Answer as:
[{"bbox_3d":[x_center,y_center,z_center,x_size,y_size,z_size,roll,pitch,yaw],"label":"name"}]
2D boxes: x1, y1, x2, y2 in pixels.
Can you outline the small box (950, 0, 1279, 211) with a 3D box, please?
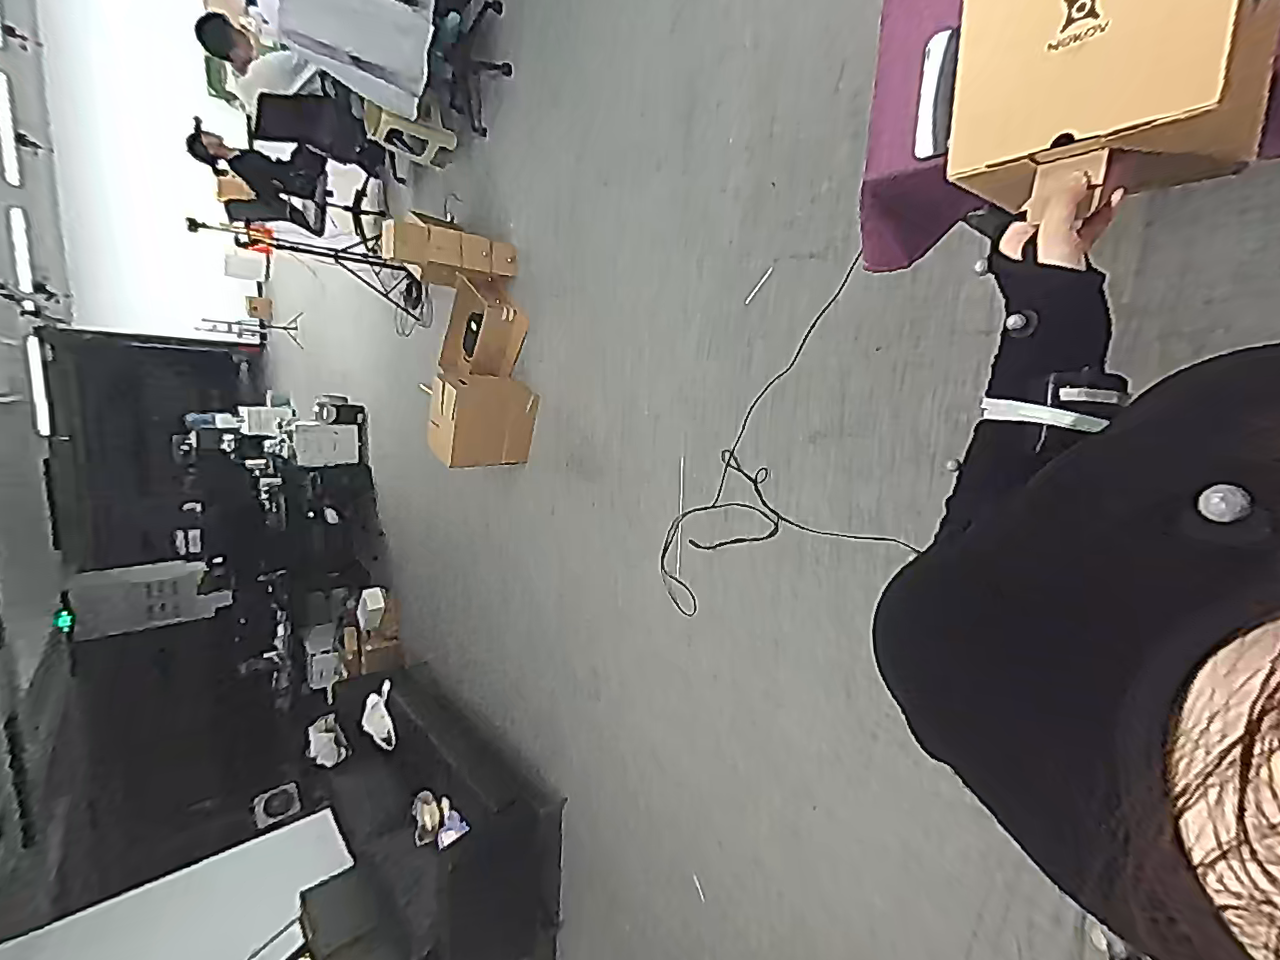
[{"bbox_3d":[0.381,-0.340,0.435,0.168,0.176,0.179,14,108,50],"label":"small box"}]
